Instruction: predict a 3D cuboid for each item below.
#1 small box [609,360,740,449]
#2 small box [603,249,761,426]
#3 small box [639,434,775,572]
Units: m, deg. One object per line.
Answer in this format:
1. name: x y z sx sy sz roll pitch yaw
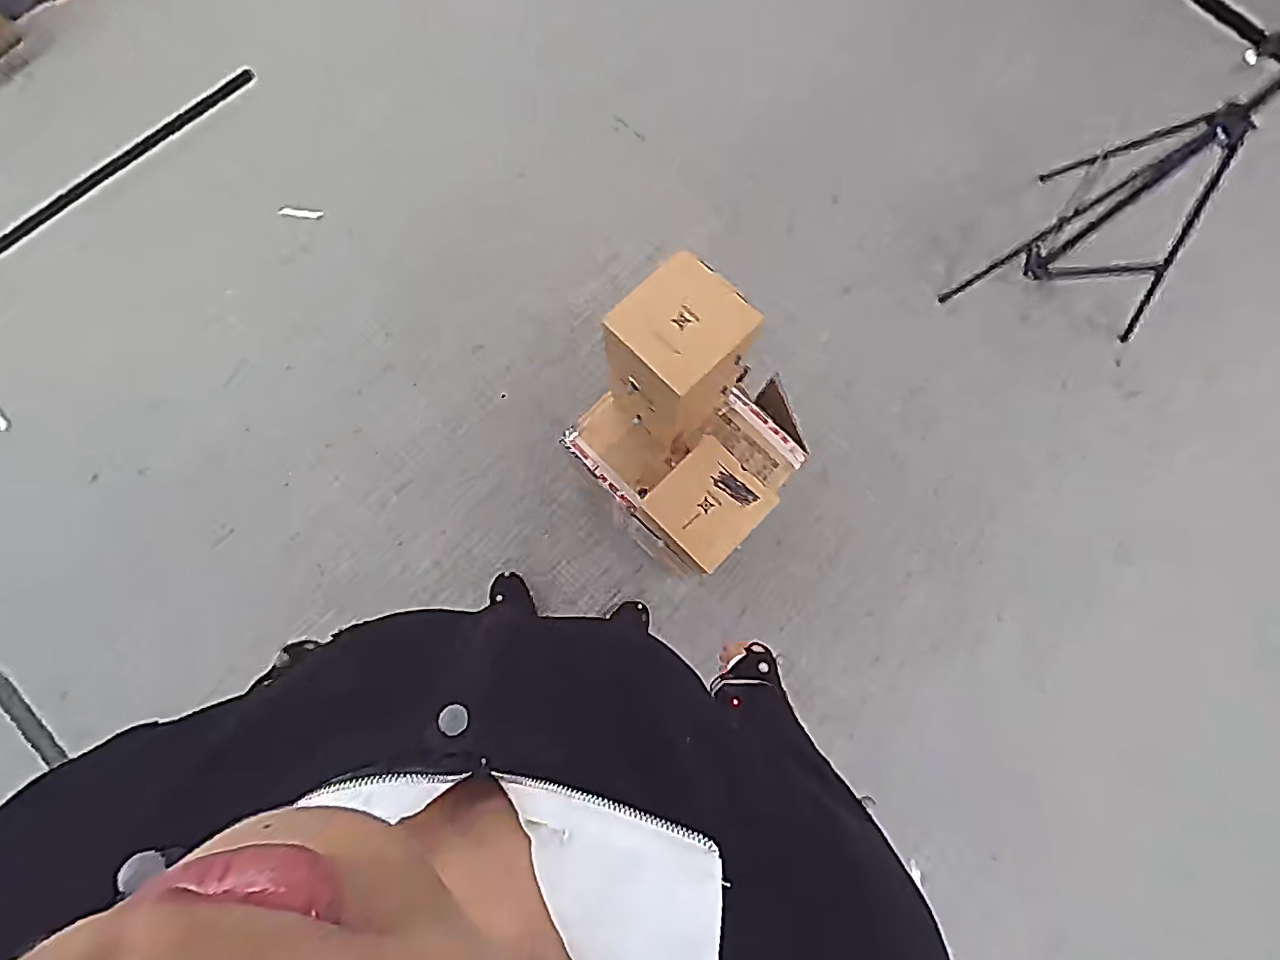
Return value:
1. small box: 0.058 -0.186 1.022 0.179 0.176 0.168 -44 82 -8
2. small box: 0.060 -0.216 0.862 0.179 0.176 0.168 -44 81 -8
3. small box: 0.109 0.047 0.980 0.179 0.176 0.168 -44 84 -8
